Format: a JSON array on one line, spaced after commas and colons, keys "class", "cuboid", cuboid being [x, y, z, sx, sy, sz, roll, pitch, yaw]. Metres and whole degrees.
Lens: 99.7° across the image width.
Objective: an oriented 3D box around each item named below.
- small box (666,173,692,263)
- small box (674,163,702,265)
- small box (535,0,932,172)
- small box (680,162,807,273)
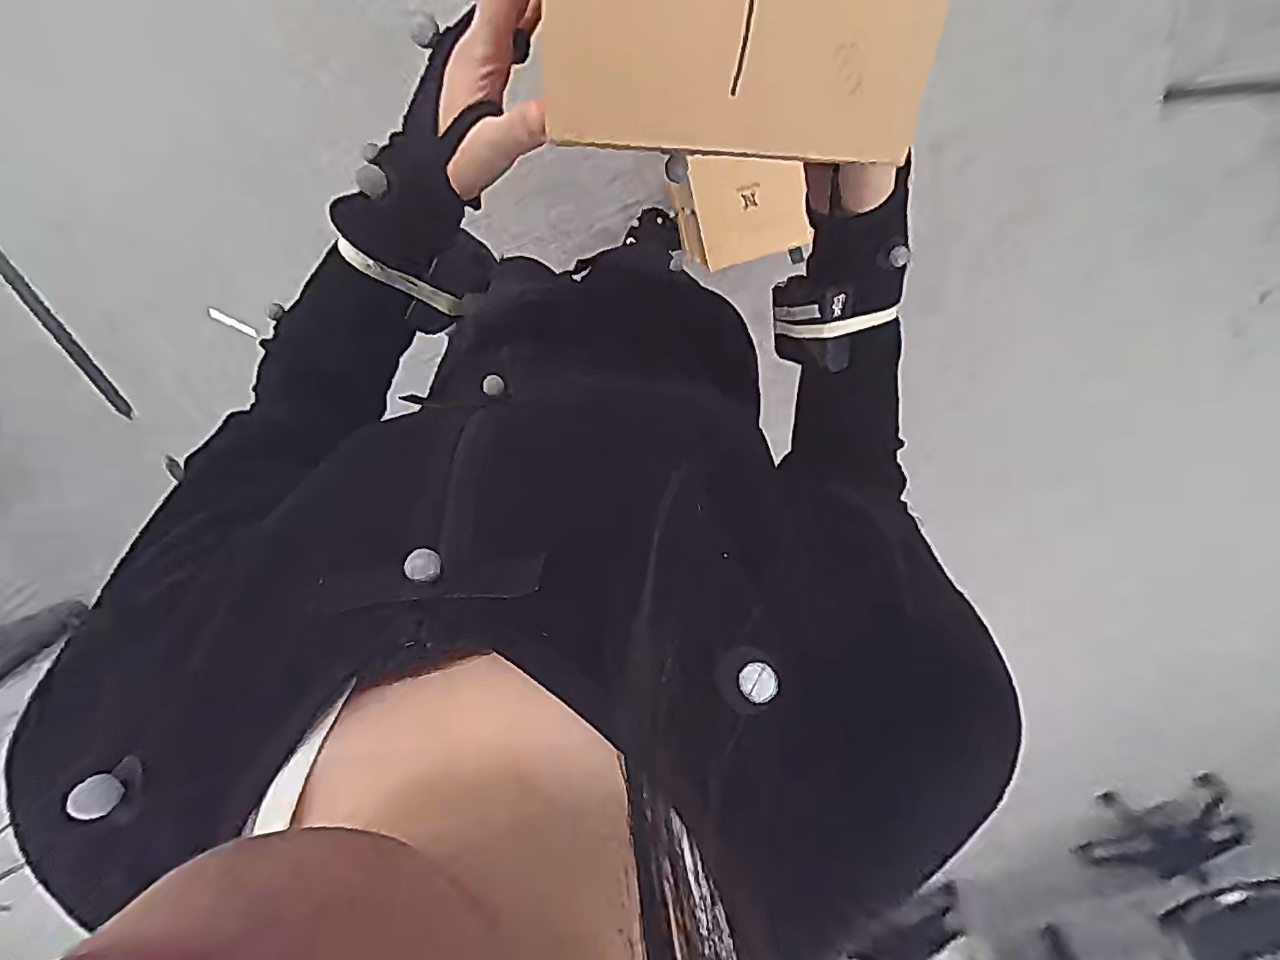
[{"class": "small box", "cuboid": [0.156, -0.601, 1.200, 0.168, 0.176, 0.179, -14, 115, 8]}, {"class": "small box", "cuboid": [0.161, -0.531, 1.051, 0.168, 0.176, 0.179, -11, 115, 7]}, {"class": "small box", "cuboid": [0.033, -0.261, 0.270, 0.168, 0.176, 0.179, 0, 122, -6]}, {"class": "small box", "cuboid": [0.166, -0.462, 0.904, 0.168, 0.176, 0.179, -13, 115, 8]}]
